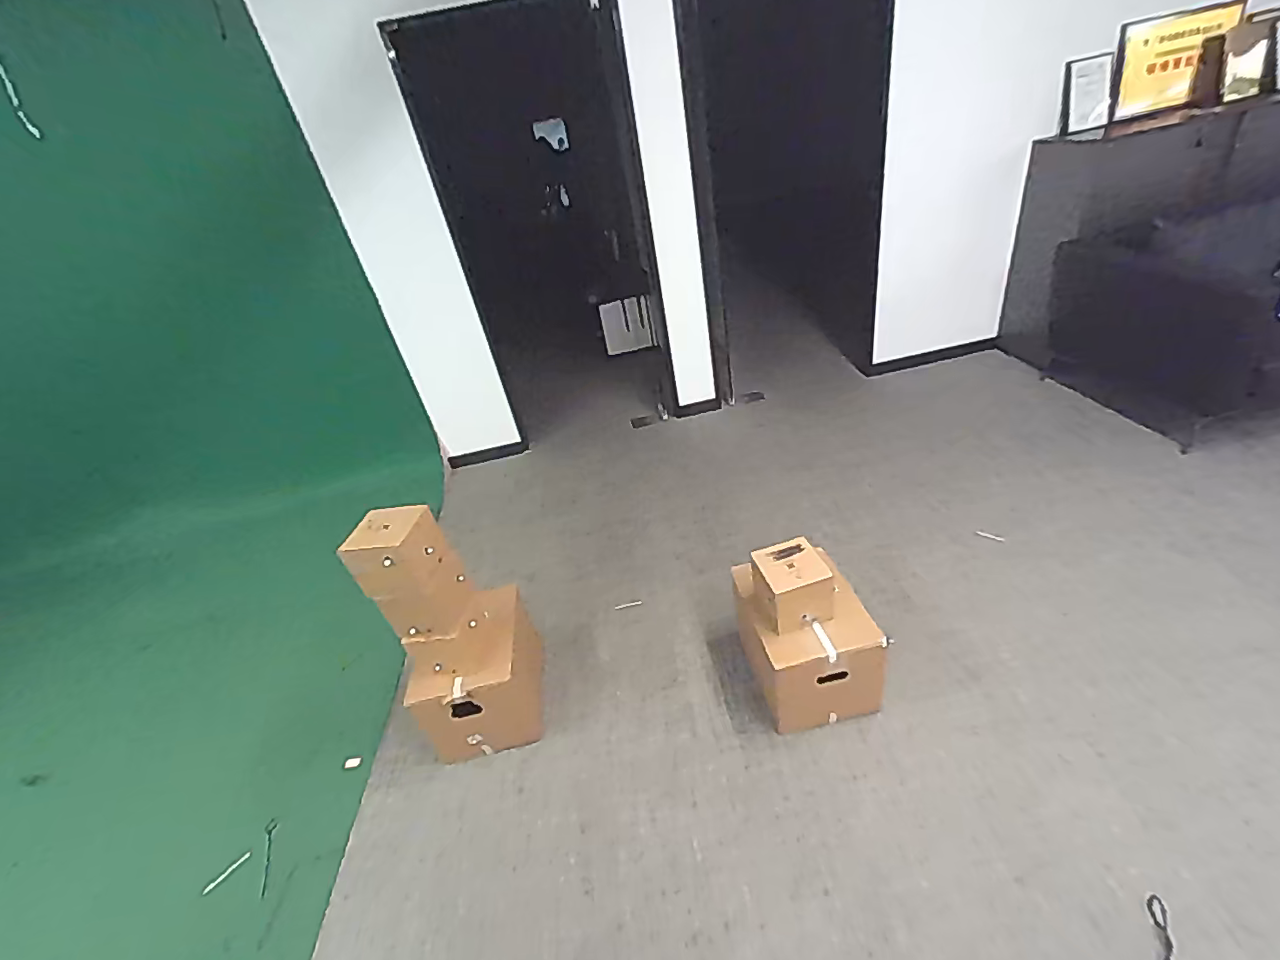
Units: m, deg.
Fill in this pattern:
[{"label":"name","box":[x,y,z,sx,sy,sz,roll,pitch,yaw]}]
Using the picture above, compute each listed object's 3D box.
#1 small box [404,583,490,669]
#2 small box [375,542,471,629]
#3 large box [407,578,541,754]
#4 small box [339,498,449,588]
[{"label":"small box","box":[-0.559,0.432,1.597,0.168,0.176,0.179,-8,35,8]},{"label":"small box","box":[-0.595,0.296,1.514,0.168,0.176,0.179,-6,35,11]},{"label":"large box","box":[-0.517,0.600,1.775,0.320,0.320,0.408,-13,33,-2]},{"label":"small box","box":[-0.634,0.167,1.419,0.179,0.176,0.168,-6,34,12]}]
